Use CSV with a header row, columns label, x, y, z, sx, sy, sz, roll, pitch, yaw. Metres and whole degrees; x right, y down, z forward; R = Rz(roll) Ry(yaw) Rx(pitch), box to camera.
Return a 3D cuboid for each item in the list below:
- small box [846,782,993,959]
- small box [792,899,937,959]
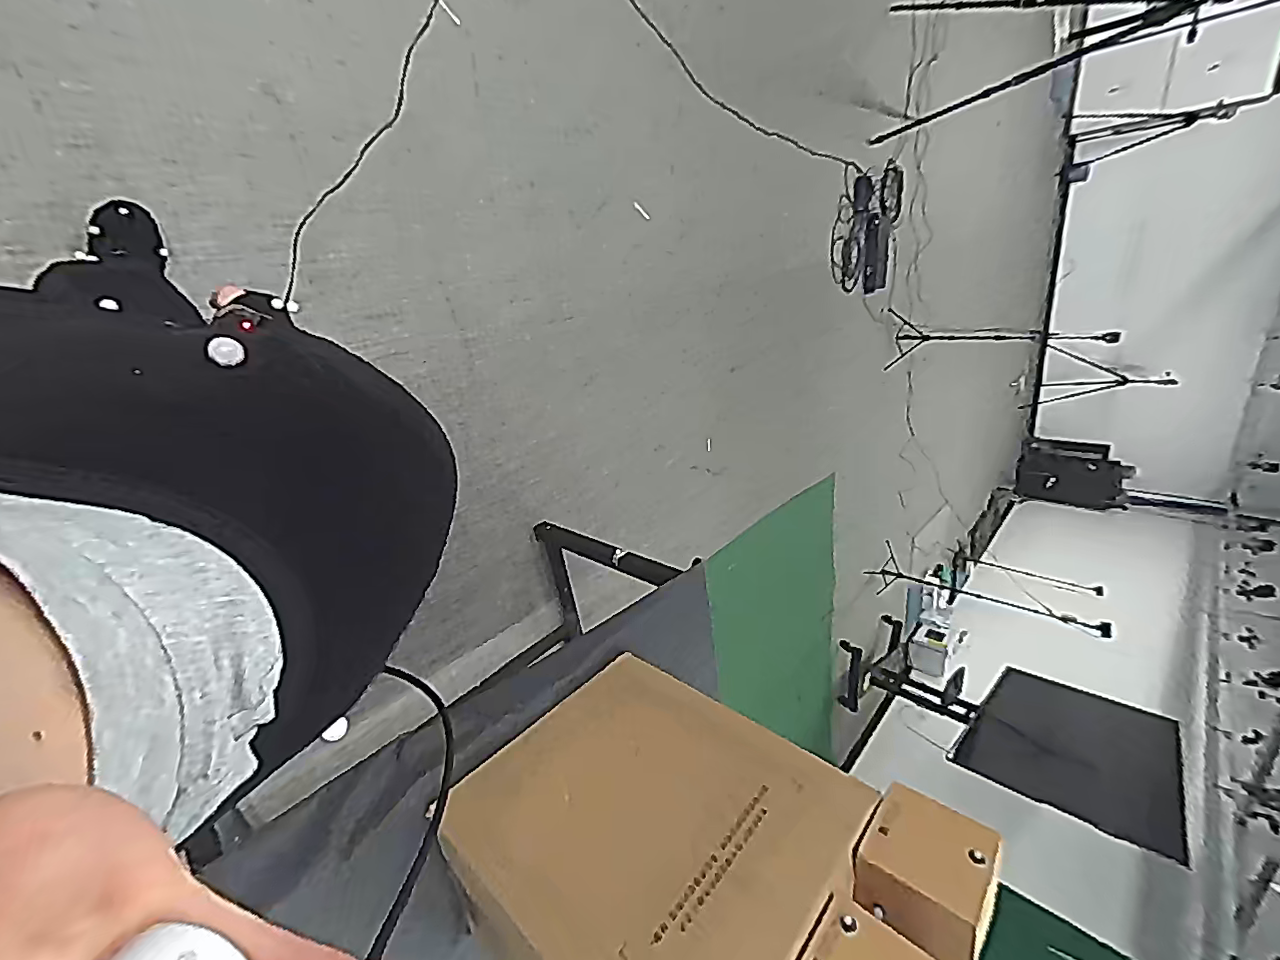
label,x,y,z,sx,sy,sz,roll,pitch,yaw
small box,0.444,0.638,0.871,0.168,0.176,0.179,-27,119,-44
small box,0.296,0.721,0.726,0.168,0.176,0.179,-27,120,-40
